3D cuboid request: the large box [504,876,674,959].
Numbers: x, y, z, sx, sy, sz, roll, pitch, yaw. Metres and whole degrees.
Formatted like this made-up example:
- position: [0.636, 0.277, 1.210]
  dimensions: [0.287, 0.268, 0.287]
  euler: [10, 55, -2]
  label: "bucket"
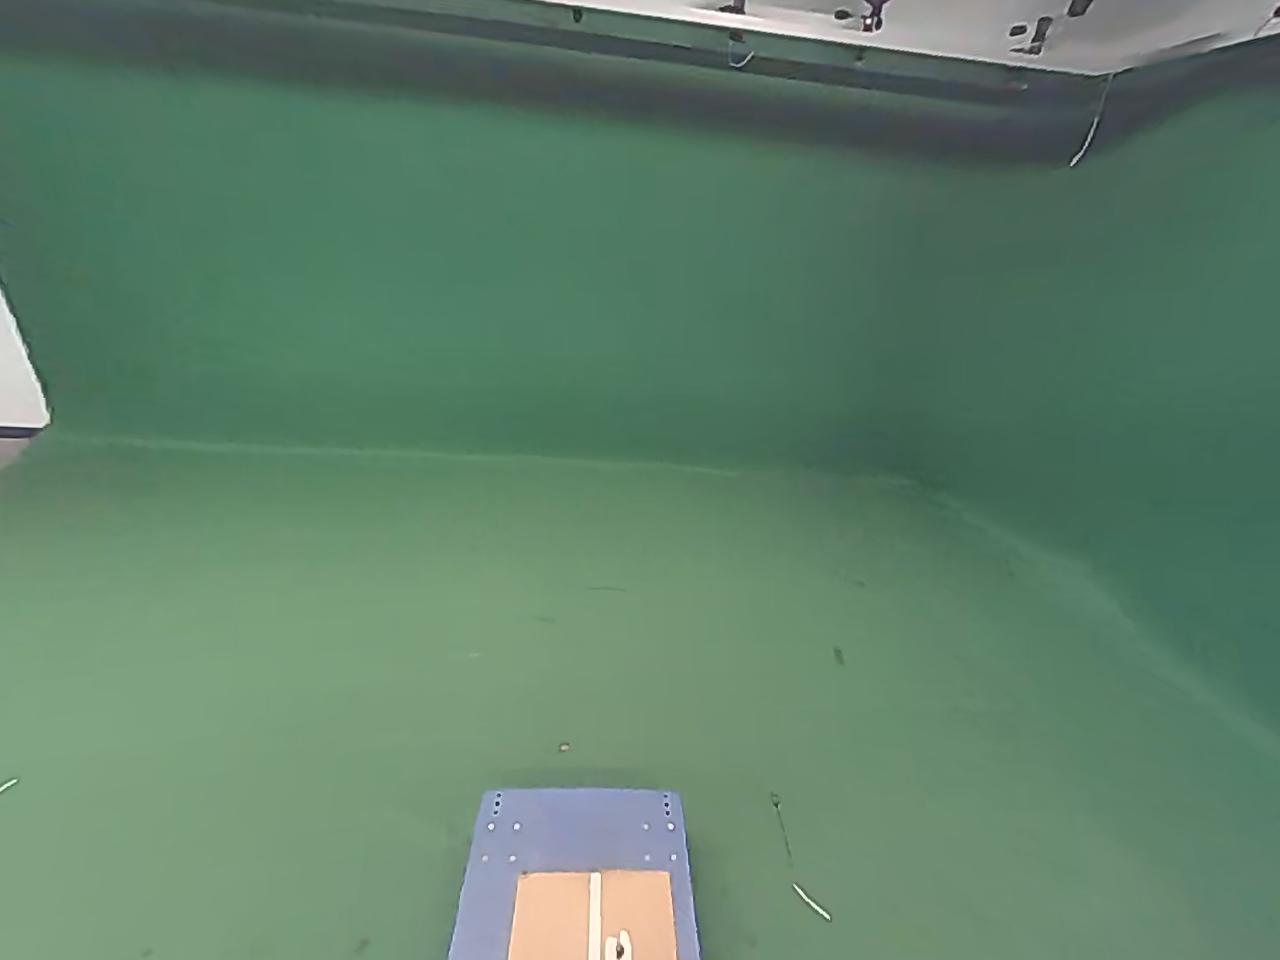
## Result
- position: [-0.098, 1.039, 0.996]
  dimensions: [0.320, 0.320, 0.408]
  euler: [4, 26, -6]
  label: "large box"
